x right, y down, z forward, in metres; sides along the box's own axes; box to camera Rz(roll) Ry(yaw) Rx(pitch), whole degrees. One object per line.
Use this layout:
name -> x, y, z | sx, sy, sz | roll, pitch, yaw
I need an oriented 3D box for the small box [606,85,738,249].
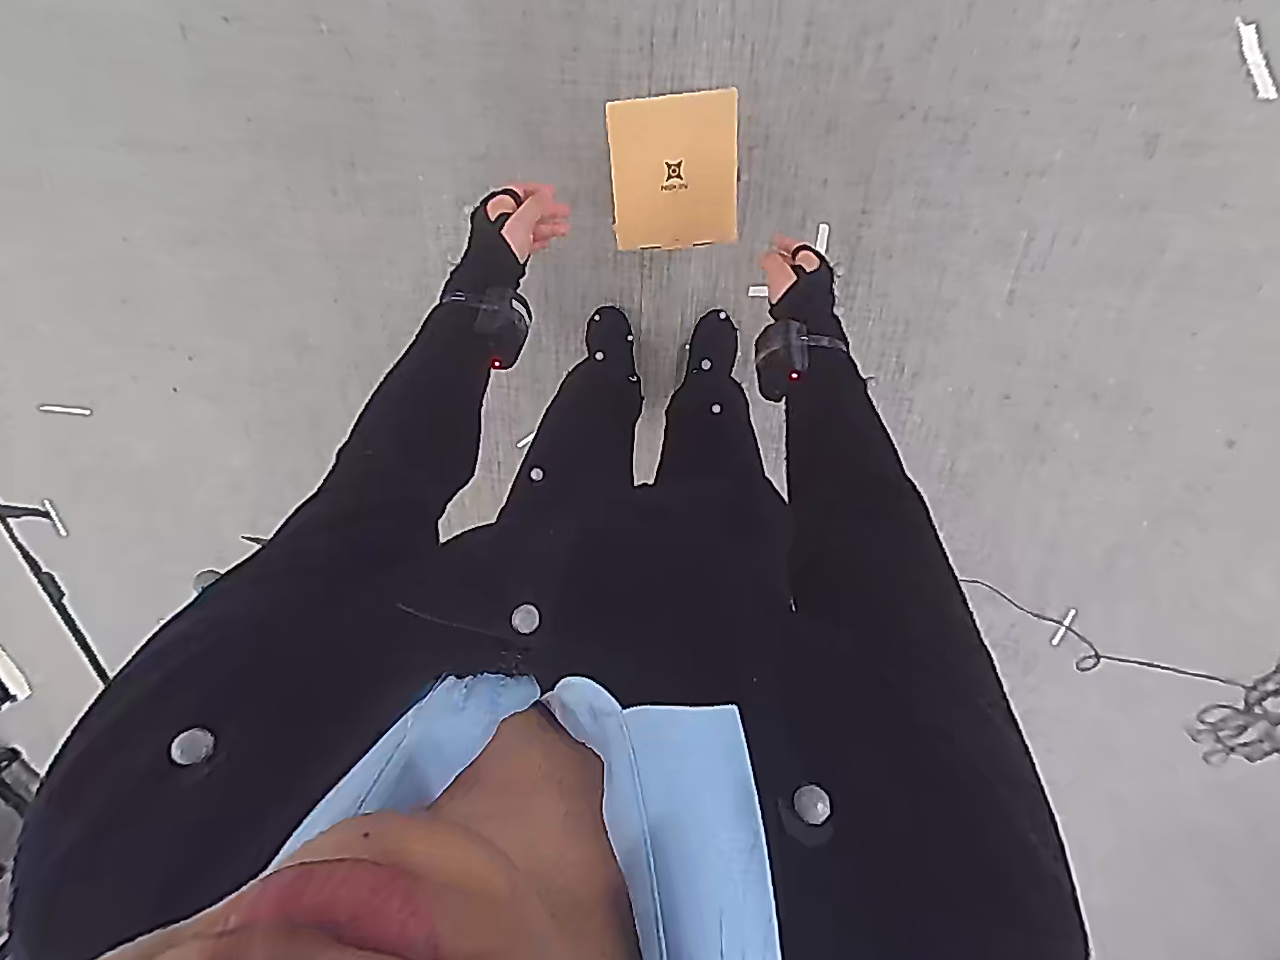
small box -> 0.050, -0.434, 0.768 | 0.168, 0.176, 0.179 | -2, 118, 7
